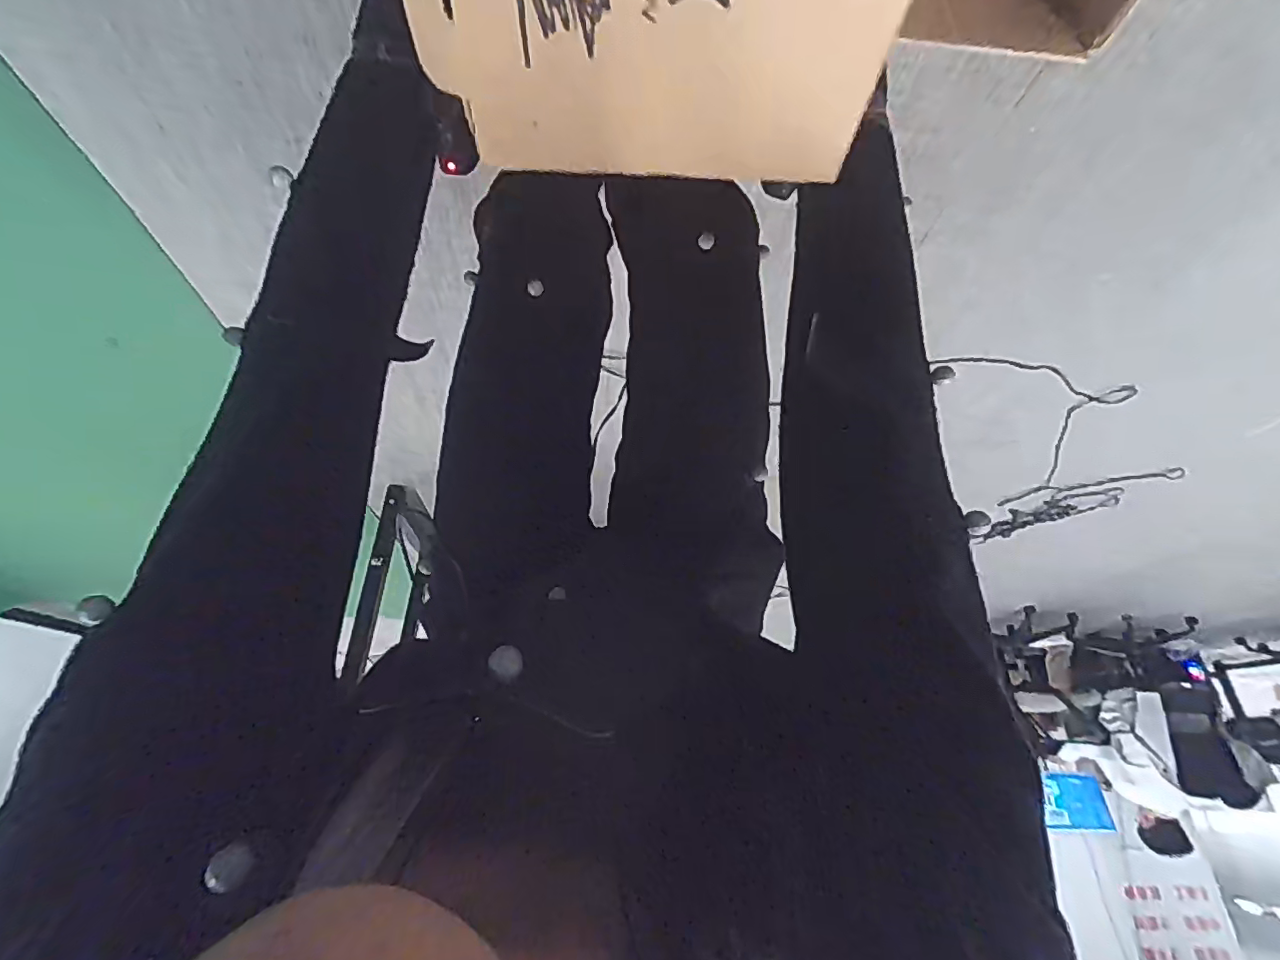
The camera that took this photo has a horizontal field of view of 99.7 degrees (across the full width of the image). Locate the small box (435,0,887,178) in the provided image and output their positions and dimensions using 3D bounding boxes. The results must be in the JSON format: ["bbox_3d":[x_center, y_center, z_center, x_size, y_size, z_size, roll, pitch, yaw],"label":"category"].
[{"bbox_3d":[0.009,-0.262,0.226,0.179,0.176,0.168,1,158,-2],"label":"small box"}]
